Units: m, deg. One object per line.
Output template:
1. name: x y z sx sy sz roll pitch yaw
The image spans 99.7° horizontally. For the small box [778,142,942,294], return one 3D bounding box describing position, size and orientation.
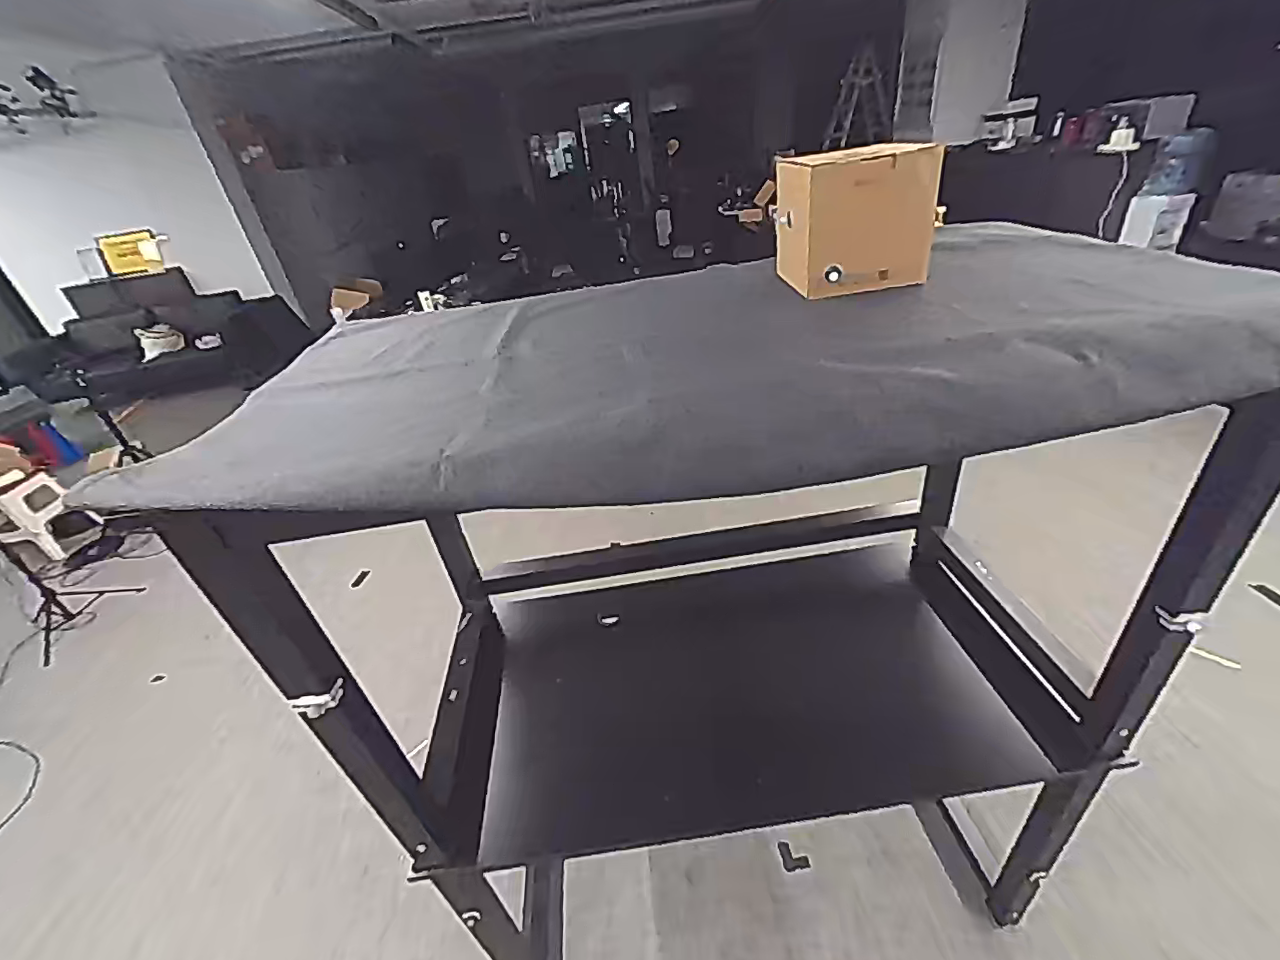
1. small box: 0.301 -0.374 0.779 0.168 0.176 0.179 -7 32 2
